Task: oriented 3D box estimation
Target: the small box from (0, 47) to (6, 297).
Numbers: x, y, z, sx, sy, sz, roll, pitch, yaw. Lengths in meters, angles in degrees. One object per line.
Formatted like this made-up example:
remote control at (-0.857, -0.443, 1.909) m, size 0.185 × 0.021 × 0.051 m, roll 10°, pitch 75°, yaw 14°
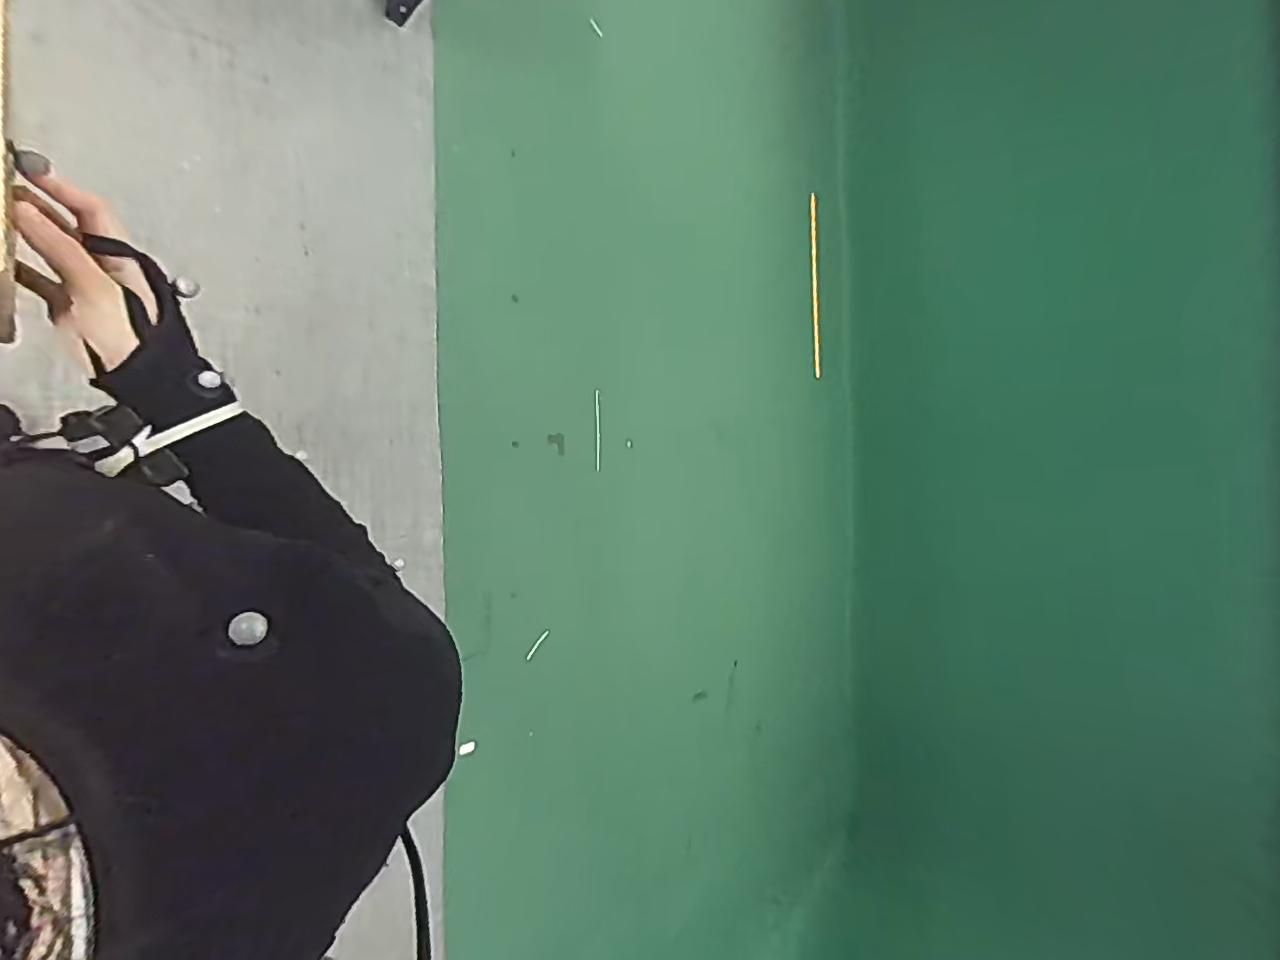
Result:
small box at (-0.426, -0.183, 0.252) m, size 0.168 × 0.176 × 0.179 m, roll 1°, pitch 88°, yaw -50°
